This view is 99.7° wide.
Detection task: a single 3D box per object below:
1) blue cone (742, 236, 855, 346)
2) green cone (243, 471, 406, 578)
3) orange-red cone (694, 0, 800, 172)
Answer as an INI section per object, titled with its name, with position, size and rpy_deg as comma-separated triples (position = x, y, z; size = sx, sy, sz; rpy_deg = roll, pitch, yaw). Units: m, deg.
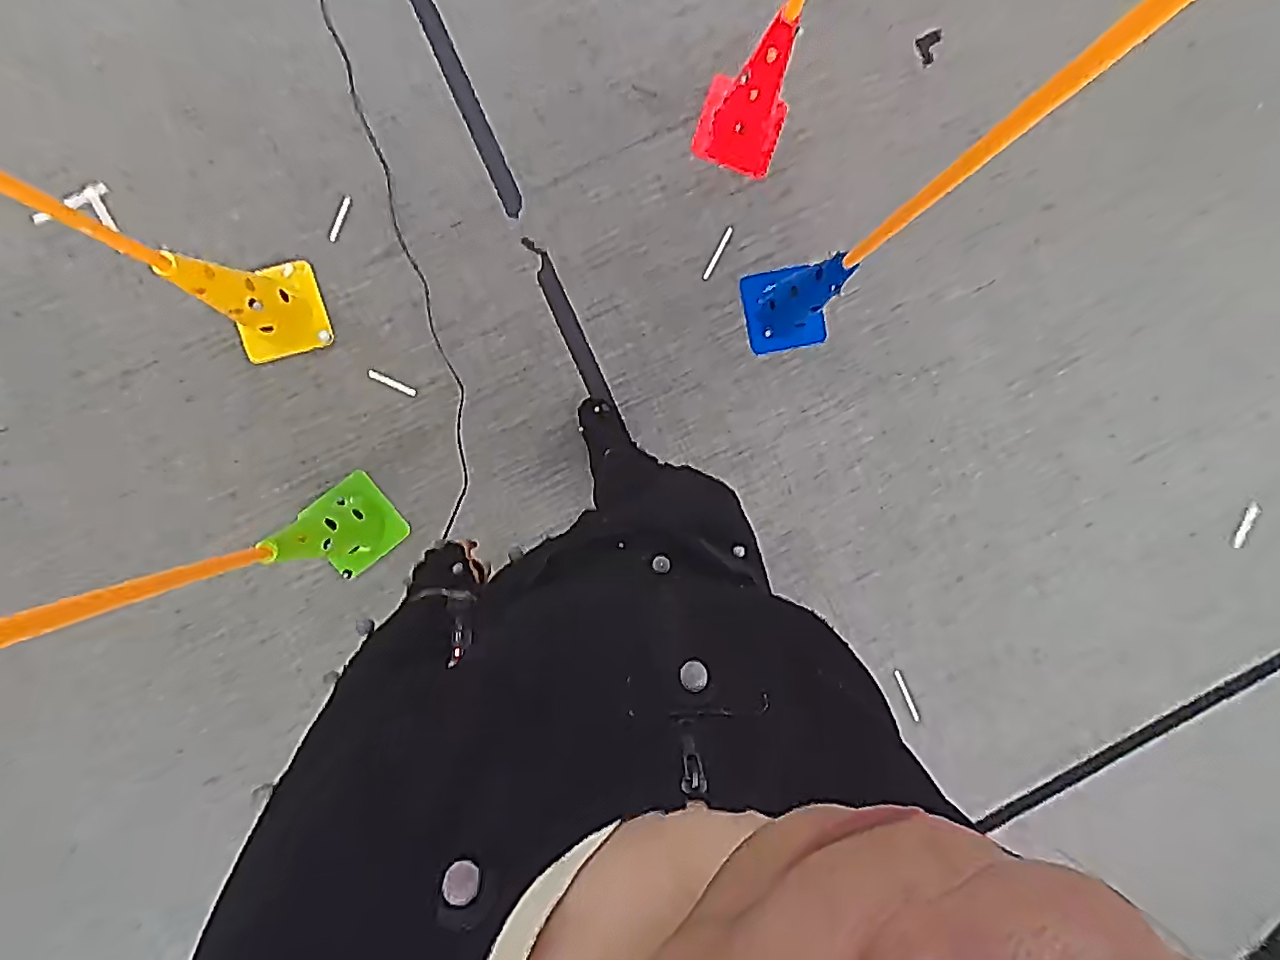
[blue cone]
position = 0.371, -0.432, 1.188
size = 0.193, 0.380, 0.192
rpy_deg = -10, 93, -4
[green cone]
position = -0.675, 0.113, 1.112
size = 0.200, 0.368, 0.202
rpy_deg = -39, 94, -2
[orange-red cone]
position = 0.259, -0.859, 1.142
size = 0.198, 0.360, 0.199
rpy_deg = 20, 93, -5
